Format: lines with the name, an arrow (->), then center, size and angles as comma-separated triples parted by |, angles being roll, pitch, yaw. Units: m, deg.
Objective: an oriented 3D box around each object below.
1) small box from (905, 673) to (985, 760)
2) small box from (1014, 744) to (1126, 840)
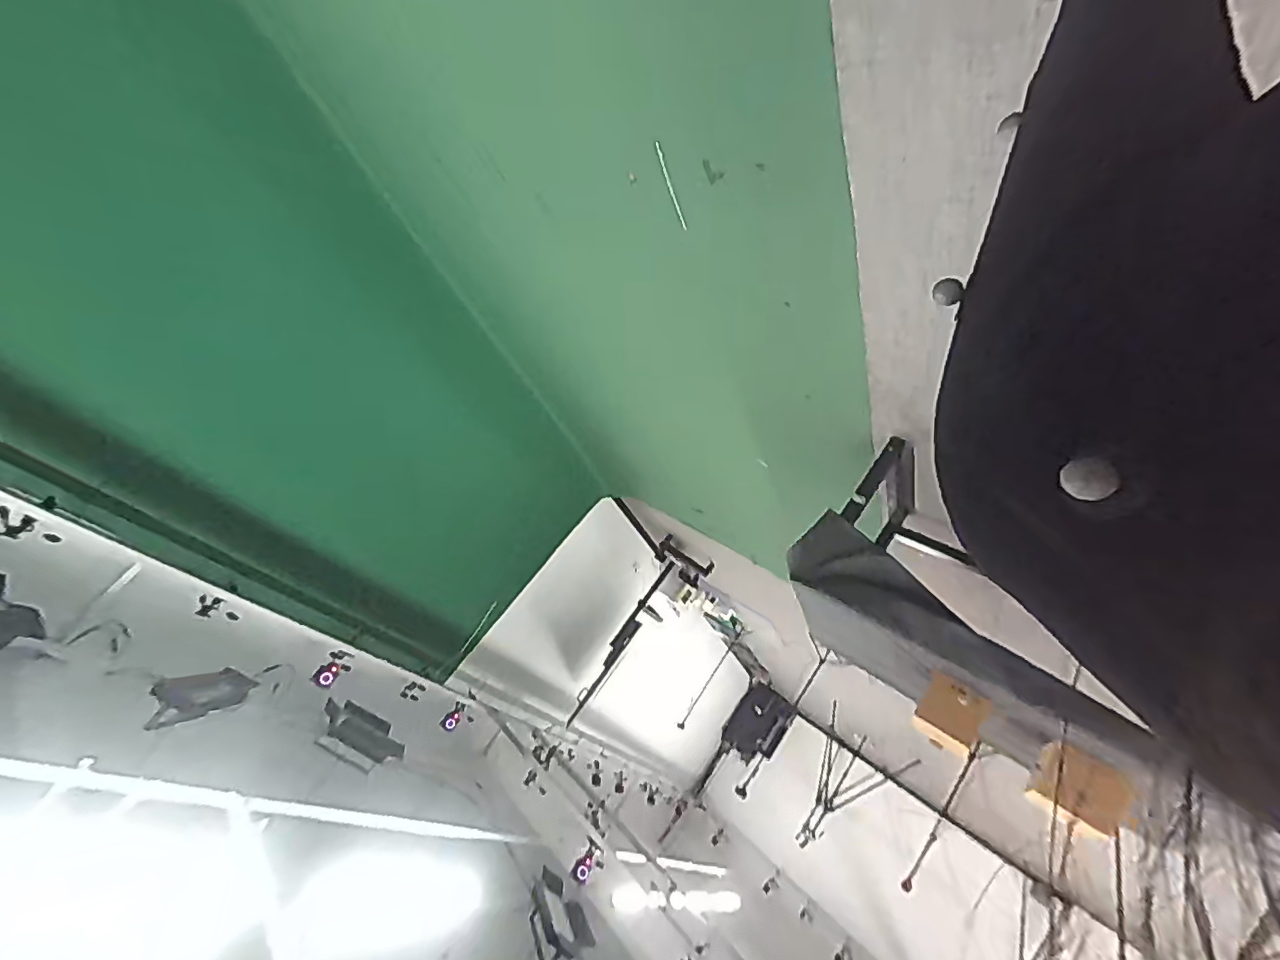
small box -> 0.955, 0.740, 1.697 | 0.168, 0.176, 0.179 | 25, 158, 37
small box -> 1.190, 0.861, 1.504 | 0.179, 0.176, 0.168 | 28, 161, 33
